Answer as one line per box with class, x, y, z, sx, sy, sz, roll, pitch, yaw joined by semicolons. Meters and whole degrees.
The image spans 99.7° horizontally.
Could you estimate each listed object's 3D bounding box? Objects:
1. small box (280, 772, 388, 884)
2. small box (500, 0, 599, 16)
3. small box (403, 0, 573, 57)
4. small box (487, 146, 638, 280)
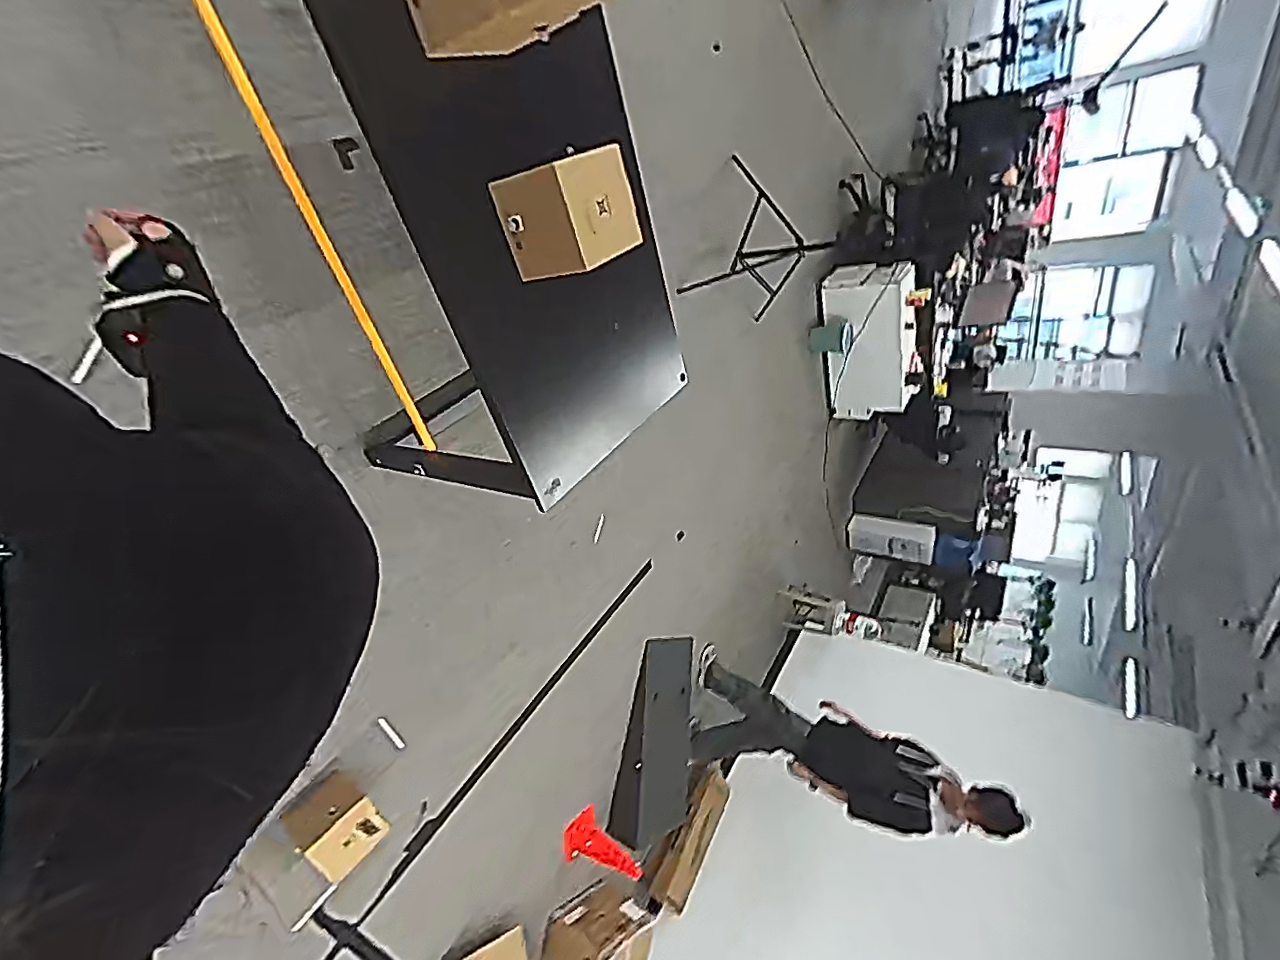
small box;-0.856;0.964;1.515;0.179;0.176;0.168;-41;128;-41
small box;-0.095;-0.721;0.683;0.179;0.176;0.168;-47;132;-38
small box;-0.231;-0.734;0.774;0.179;0.176;0.168;-45;130;-40
small box;-0.136;-0.471;0.964;0.179;0.176;0.168;-47;131;-37
